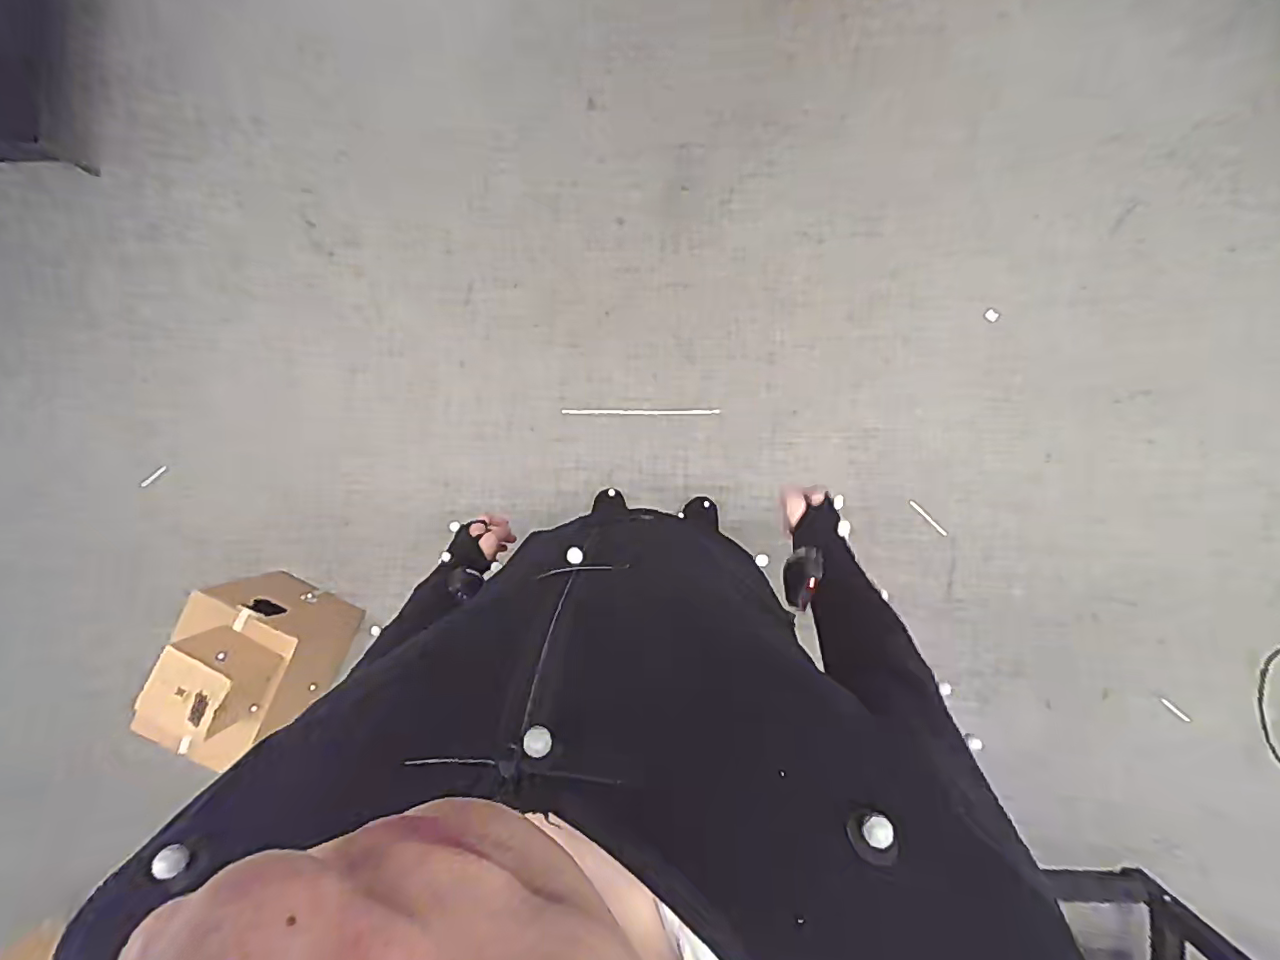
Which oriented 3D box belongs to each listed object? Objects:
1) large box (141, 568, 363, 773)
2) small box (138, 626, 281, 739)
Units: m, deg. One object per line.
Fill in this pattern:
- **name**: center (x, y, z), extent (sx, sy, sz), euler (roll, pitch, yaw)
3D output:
- **large box**: center (-1.075, 0.513, 1.541), extent (0.320, 0.320, 0.408), euler (24, 92, 3)
- **small box**: center (-1.015, 0.472, 1.292), extent (0.179, 0.176, 0.168), euler (28, 91, 1)
